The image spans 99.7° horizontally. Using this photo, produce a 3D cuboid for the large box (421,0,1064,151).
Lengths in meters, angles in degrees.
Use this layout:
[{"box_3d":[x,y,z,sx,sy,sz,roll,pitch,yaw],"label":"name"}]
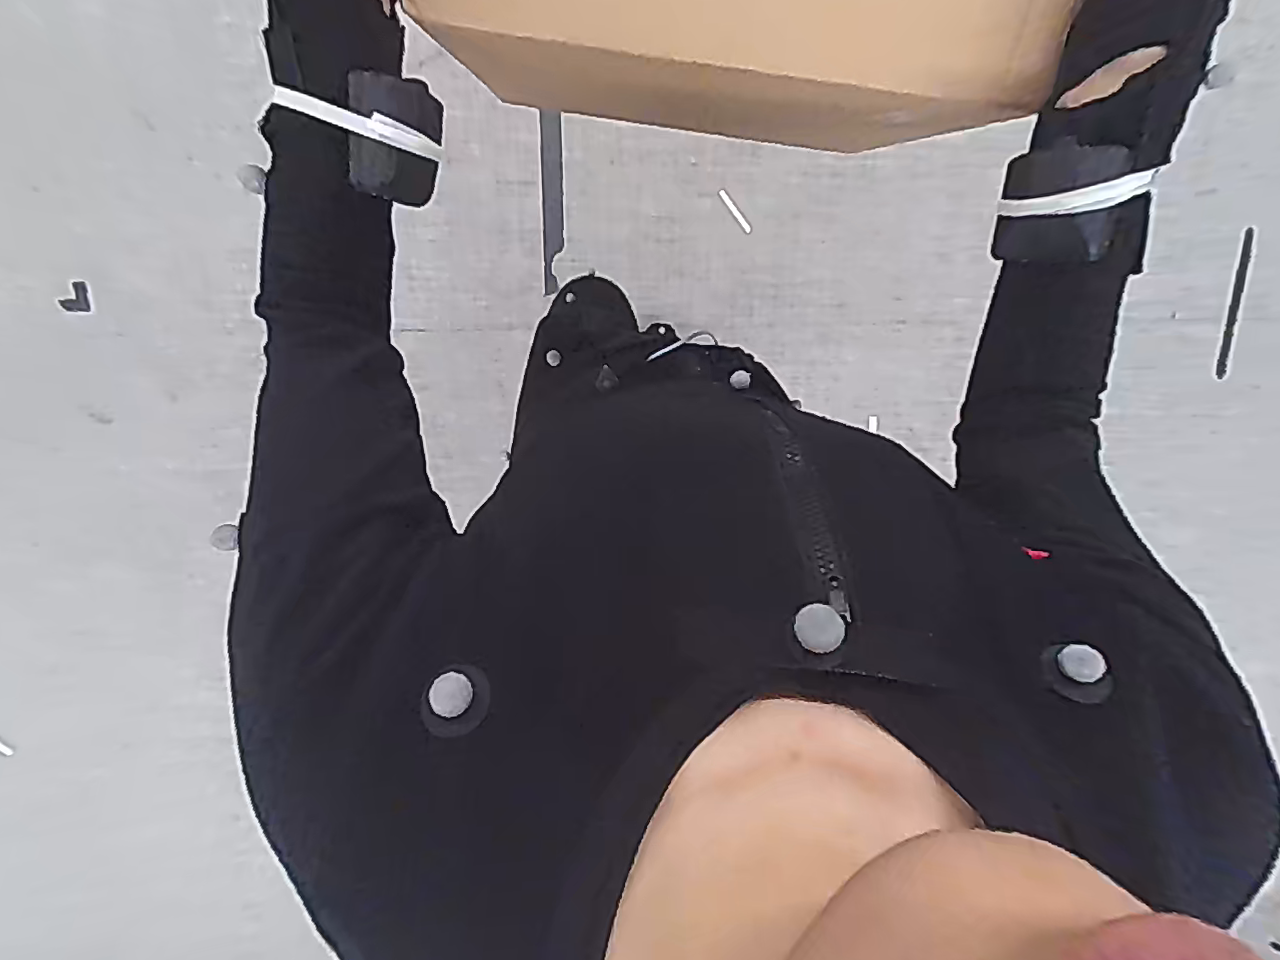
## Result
[{"box_3d":[0.070,-0.465,0.411,0.408,0.320,0.320,5,117,-6],"label":"large box"}]
